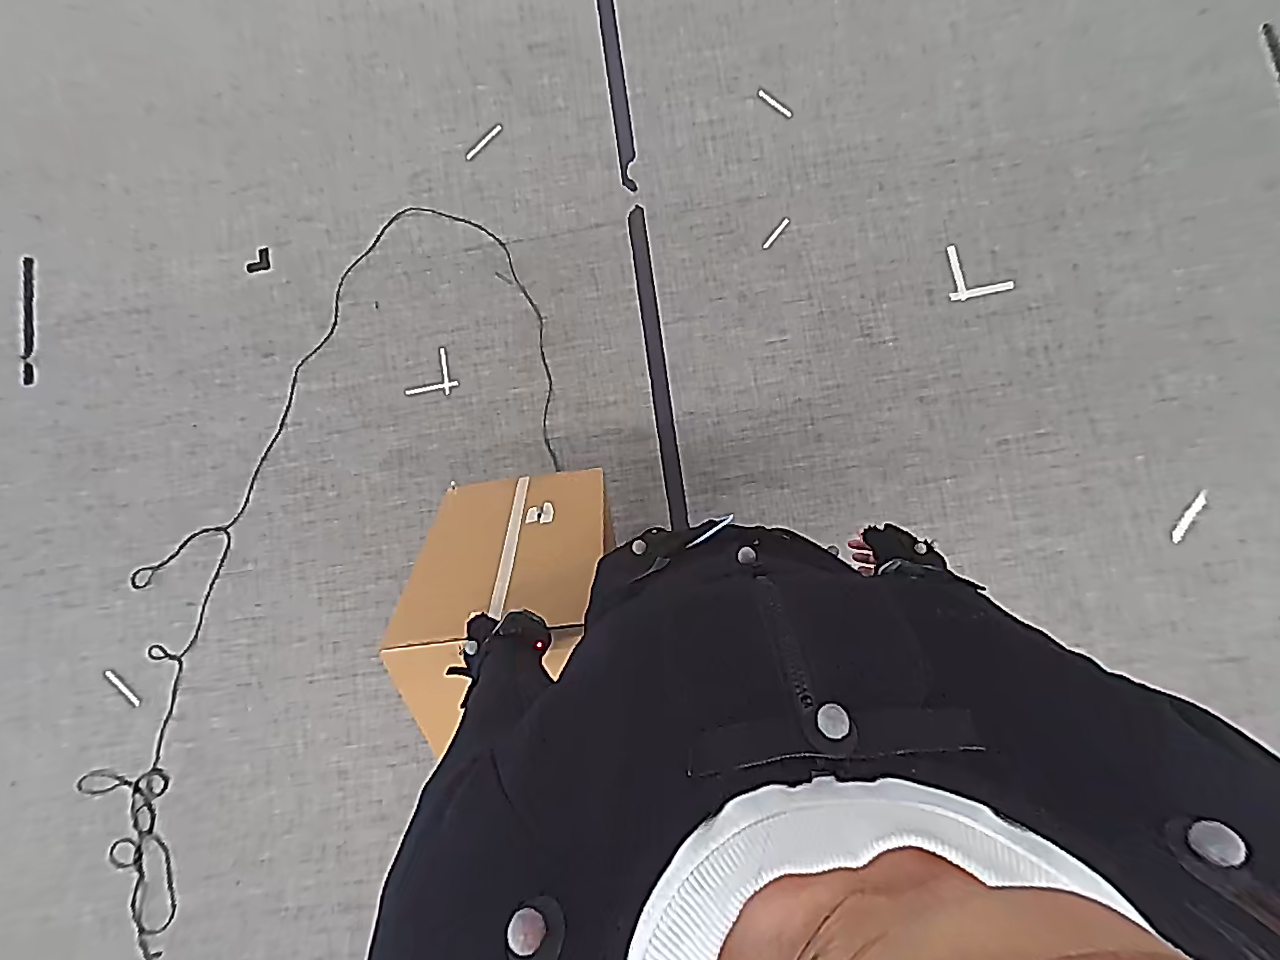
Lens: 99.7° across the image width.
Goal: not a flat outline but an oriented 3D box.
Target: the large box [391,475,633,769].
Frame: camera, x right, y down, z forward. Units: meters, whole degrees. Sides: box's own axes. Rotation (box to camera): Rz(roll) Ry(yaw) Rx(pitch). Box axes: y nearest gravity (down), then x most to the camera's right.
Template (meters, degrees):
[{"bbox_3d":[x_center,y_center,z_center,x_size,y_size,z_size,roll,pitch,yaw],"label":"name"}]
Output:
[{"bbox_3d":[-0.193,0.238,0.989,0.320,0.408,0.320,-6,122,0],"label":"large box"}]
